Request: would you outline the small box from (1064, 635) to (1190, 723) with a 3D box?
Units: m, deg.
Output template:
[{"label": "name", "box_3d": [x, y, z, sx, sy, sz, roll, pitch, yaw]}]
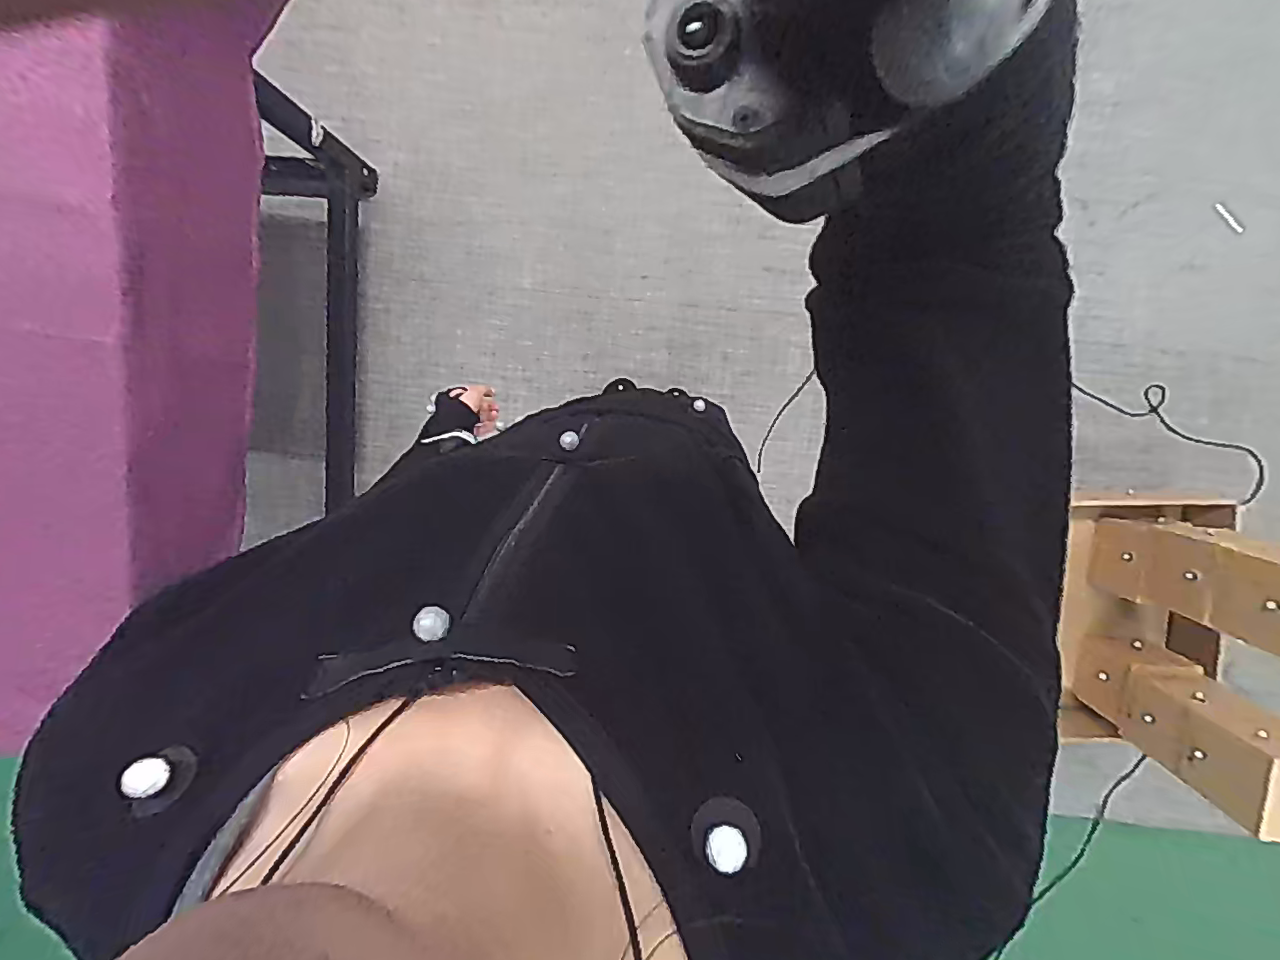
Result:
[{"label": "small box", "box_3d": [1.237, 0.514, 1.388, 0.168, 0.176, 0.179, 3, 97, 3]}]

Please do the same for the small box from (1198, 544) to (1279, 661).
[{"label": "small box", "box_3d": [1.220, 0.225, 1.022, 0.168, 0.176, 0.179, -1, 97, 5]}]

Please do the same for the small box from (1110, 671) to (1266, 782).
[{"label": "small box", "box_3d": [1.226, 0.550, 1.227, 0.179, 0.176, 0.168, 3, 98, 2]}]

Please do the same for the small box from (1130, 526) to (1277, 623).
[{"label": "small box", "box_3d": [1.230, 0.203, 1.182, 0.168, 0.176, 0.179, 4, 99, 4]}]
